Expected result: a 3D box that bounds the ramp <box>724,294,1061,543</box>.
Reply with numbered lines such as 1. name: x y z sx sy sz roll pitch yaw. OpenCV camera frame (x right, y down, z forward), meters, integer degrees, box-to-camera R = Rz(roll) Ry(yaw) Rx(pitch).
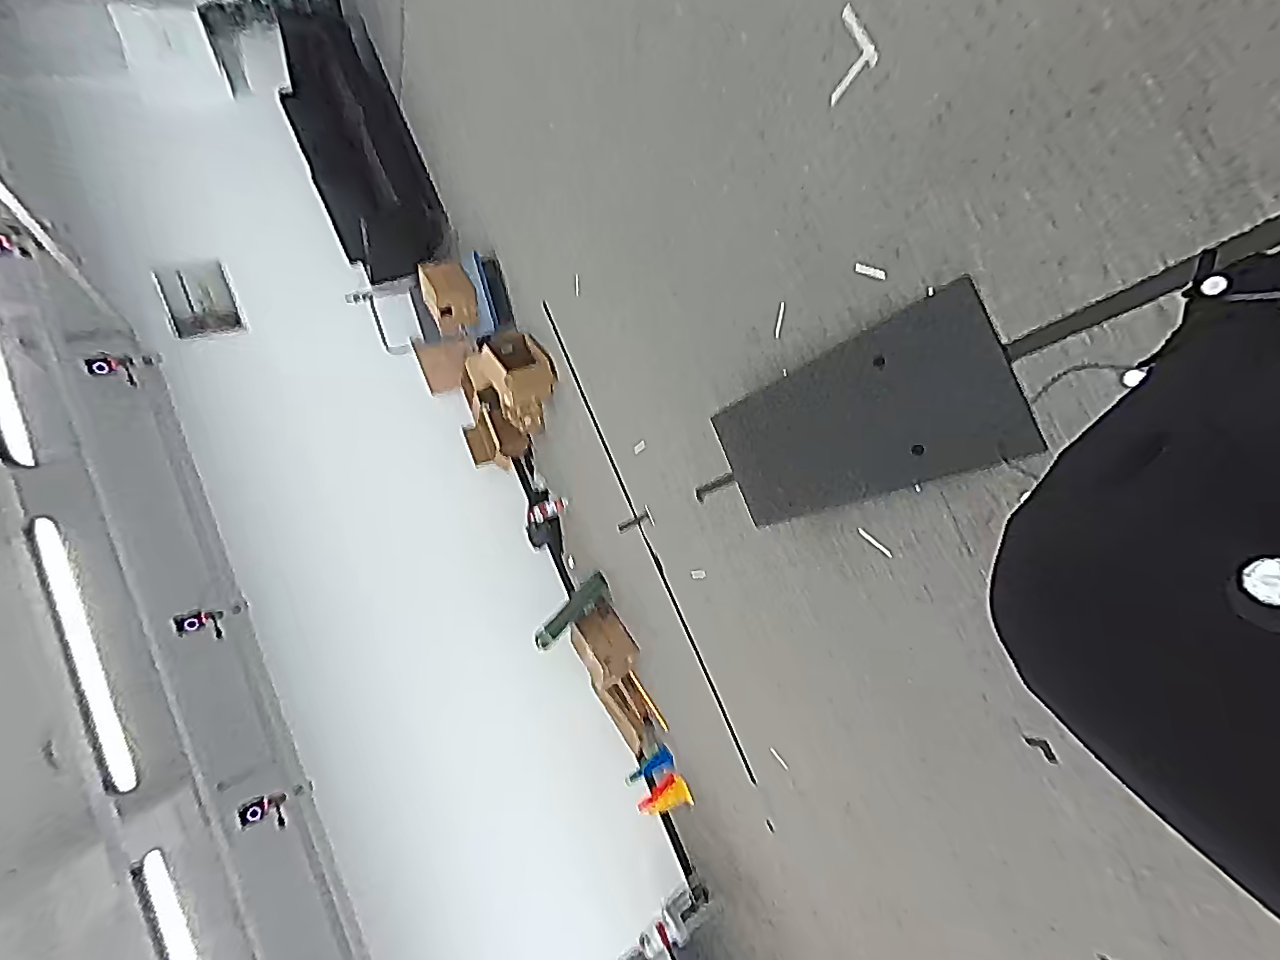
1. ramp: 0.692 -0.120 1.749 0.991 0.206 0.509 -34 76 62
